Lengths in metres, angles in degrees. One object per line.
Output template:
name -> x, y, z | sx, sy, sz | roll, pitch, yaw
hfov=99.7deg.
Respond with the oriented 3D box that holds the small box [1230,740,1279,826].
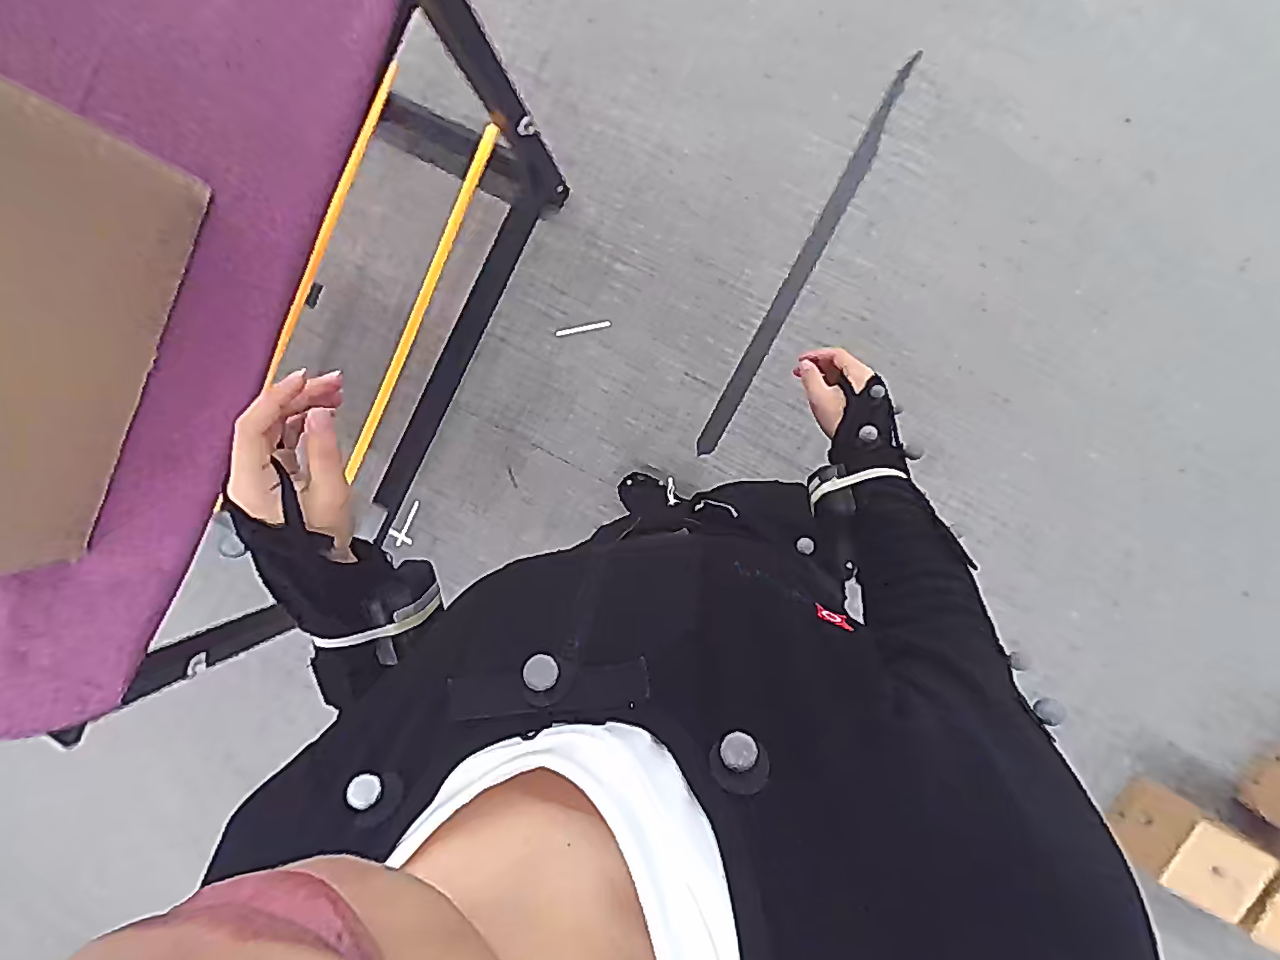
small box -> 1.497, 0.713, 1.195 | 0.179, 0.176, 0.168 | 26, 96, 3
